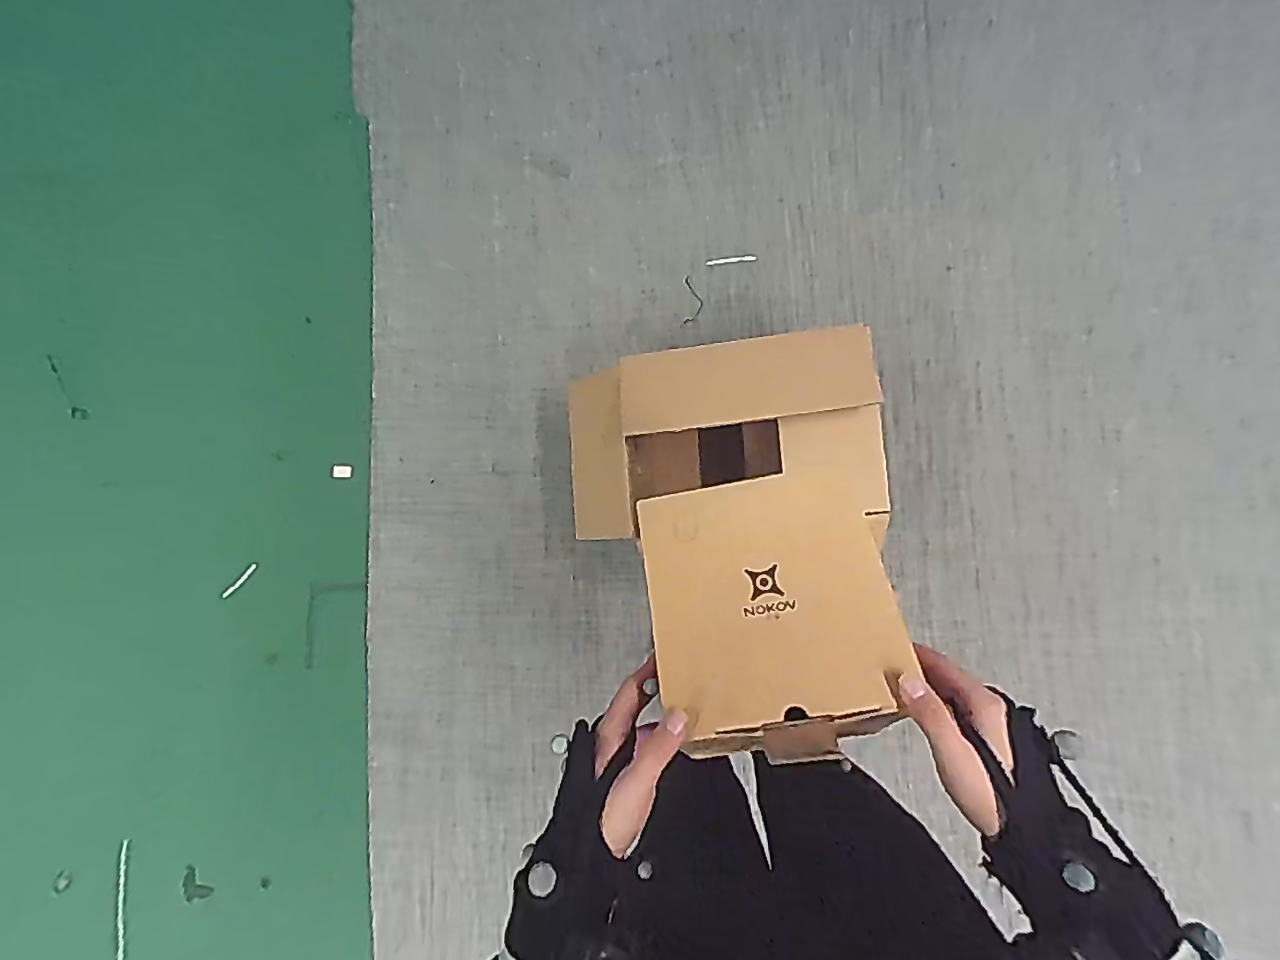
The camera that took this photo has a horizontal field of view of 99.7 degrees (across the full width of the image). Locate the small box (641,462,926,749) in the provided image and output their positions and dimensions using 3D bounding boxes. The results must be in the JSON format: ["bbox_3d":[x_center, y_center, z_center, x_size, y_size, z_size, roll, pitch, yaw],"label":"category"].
[{"bbox_3d":[0.100,0.112,0.449,0.168,0.176,0.179,-11,59,5],"label":"small box"}]
